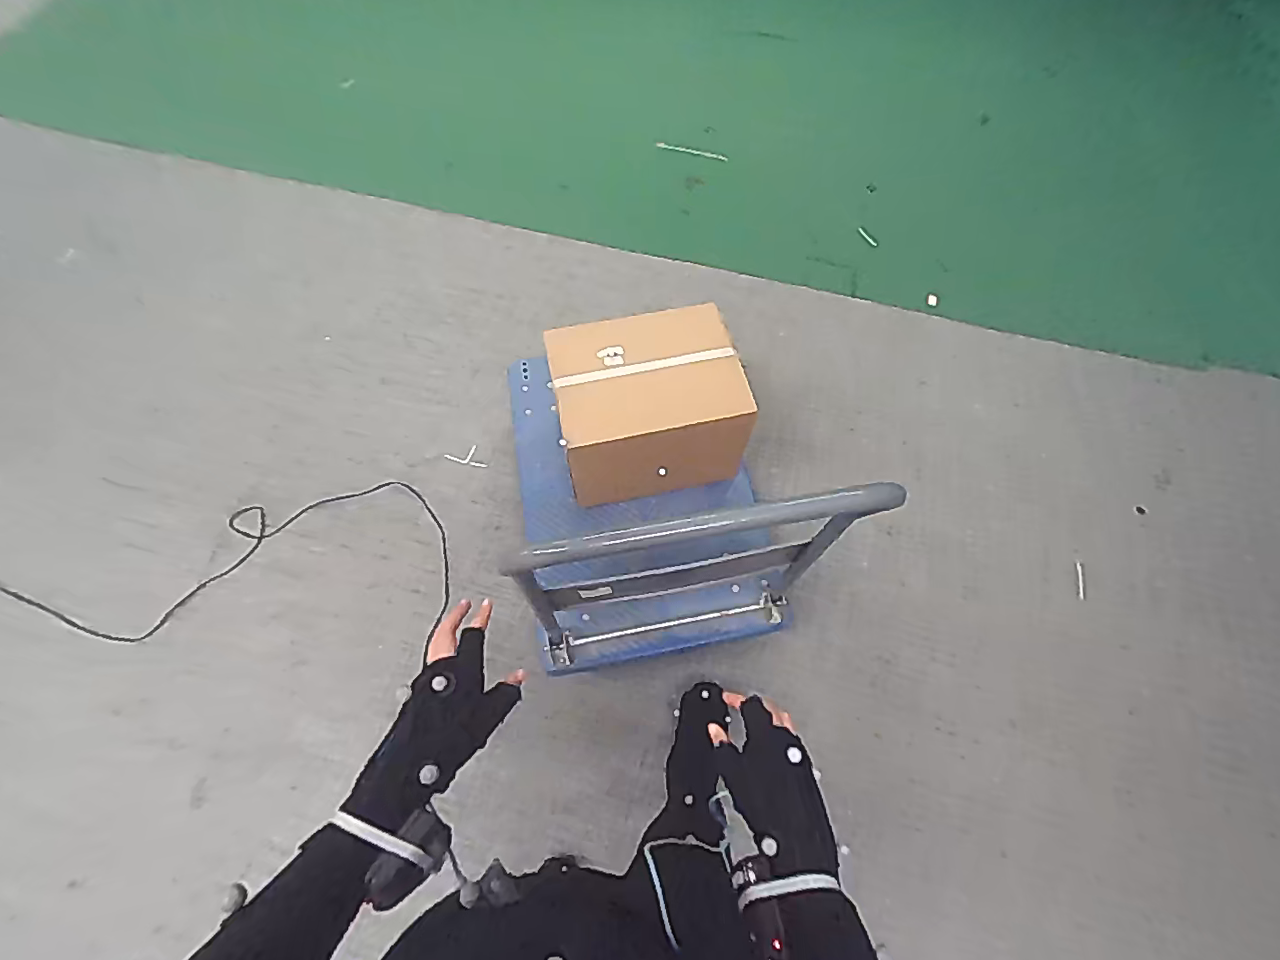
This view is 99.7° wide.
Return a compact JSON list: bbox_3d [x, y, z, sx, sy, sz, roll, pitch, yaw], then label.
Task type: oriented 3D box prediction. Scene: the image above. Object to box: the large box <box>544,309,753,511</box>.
[{"bbox_3d":[0.013,-0.157,1.302,0.408,0.320,0.320,-12,63,-6],"label":"large box"}]
